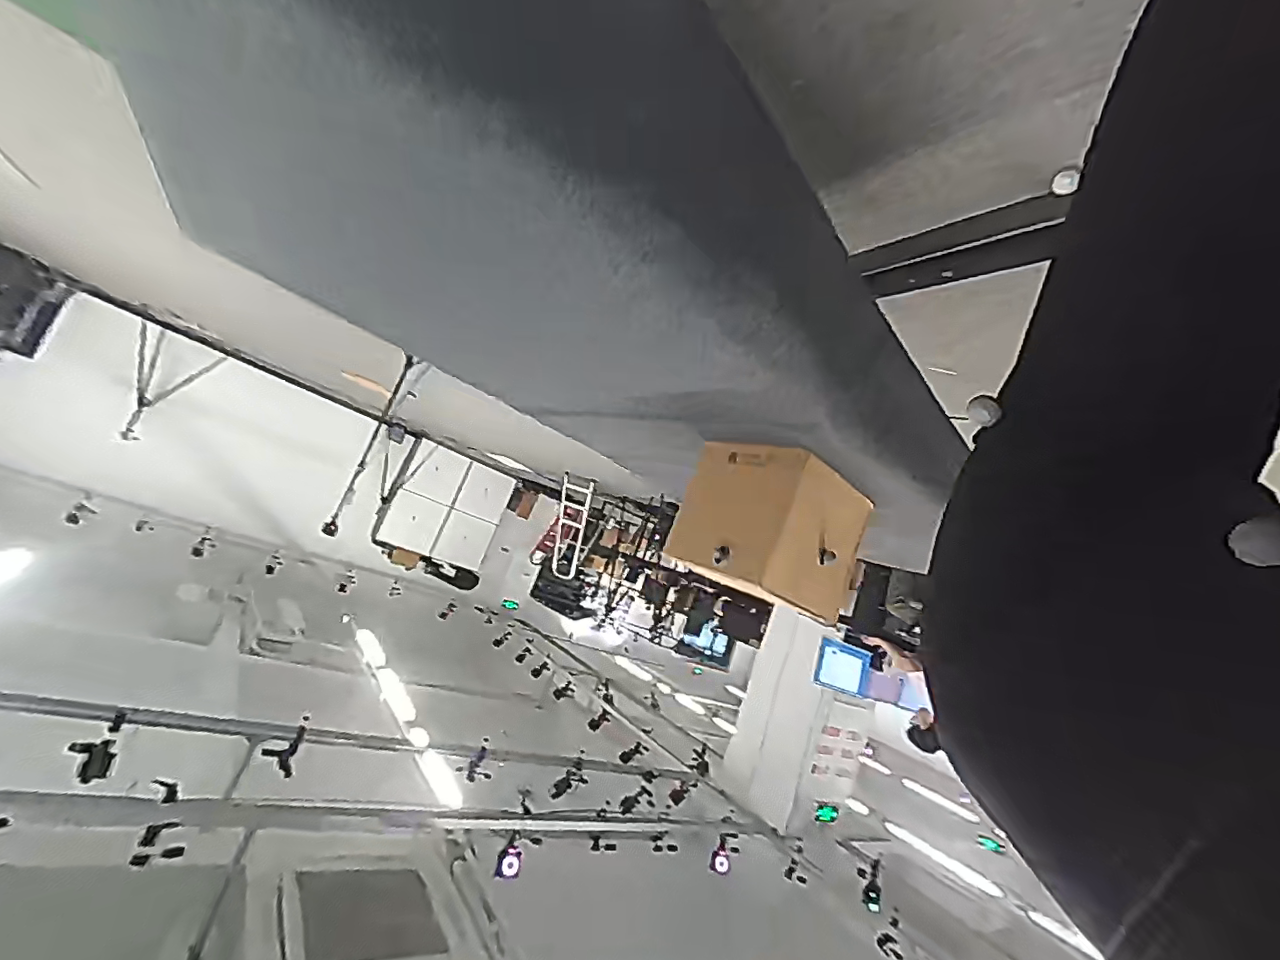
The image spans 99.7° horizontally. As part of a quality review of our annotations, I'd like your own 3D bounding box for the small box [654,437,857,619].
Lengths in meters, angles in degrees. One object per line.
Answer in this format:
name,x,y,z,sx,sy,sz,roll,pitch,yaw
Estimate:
small box,0.156,0.059,0.710,0.179,0.176,0.168,30,168,-37
